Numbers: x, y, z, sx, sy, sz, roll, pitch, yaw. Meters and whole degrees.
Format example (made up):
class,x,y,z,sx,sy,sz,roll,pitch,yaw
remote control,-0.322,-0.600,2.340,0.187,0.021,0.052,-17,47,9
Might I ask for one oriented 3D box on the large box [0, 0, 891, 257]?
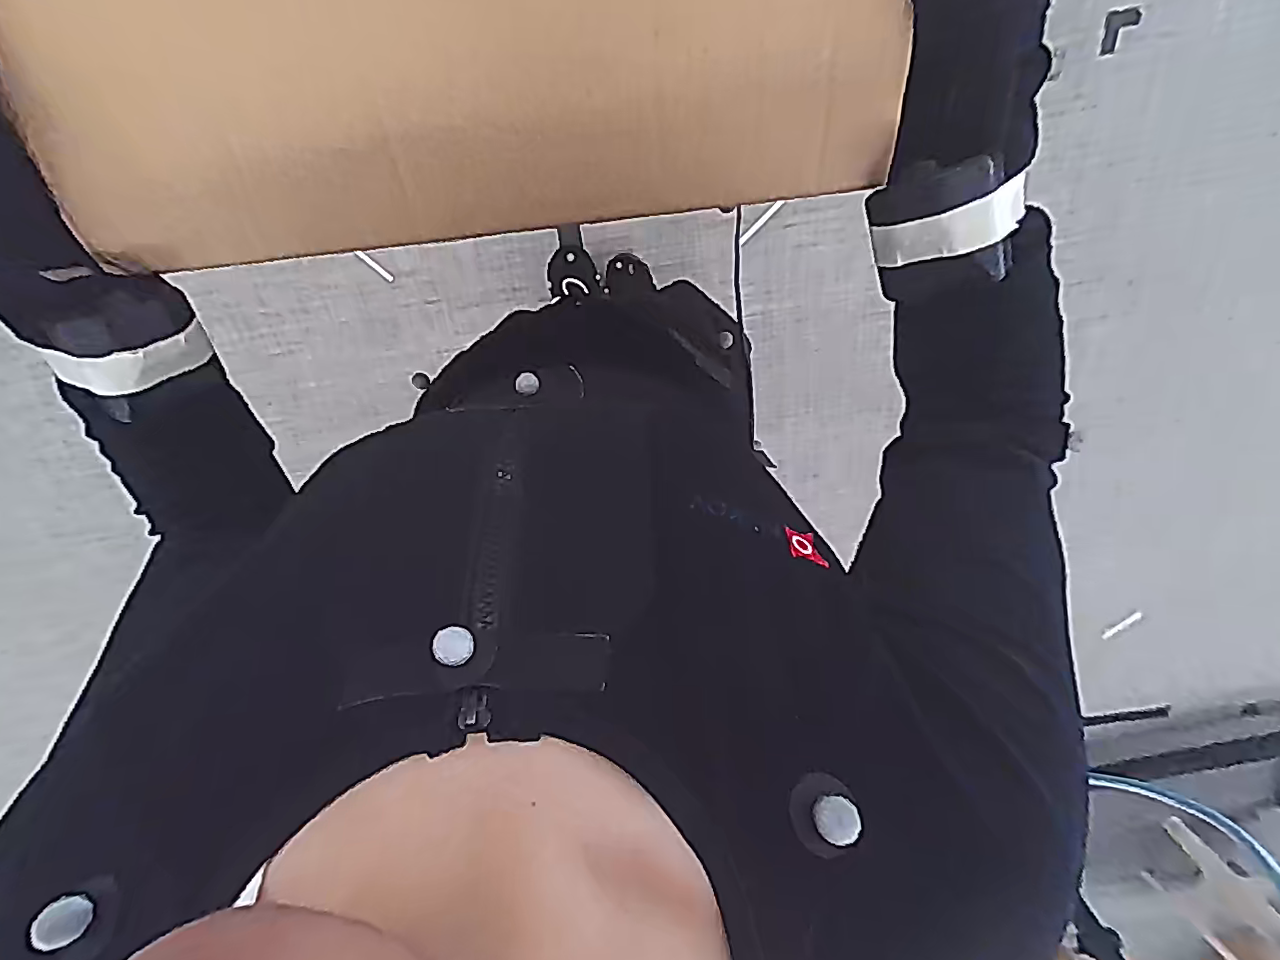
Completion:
class,x,y,z,sx,sy,sz,roll,pitch,yaw
large box,-0.101,-0.354,0.300,0.408,0.320,0.320,-6,129,0
